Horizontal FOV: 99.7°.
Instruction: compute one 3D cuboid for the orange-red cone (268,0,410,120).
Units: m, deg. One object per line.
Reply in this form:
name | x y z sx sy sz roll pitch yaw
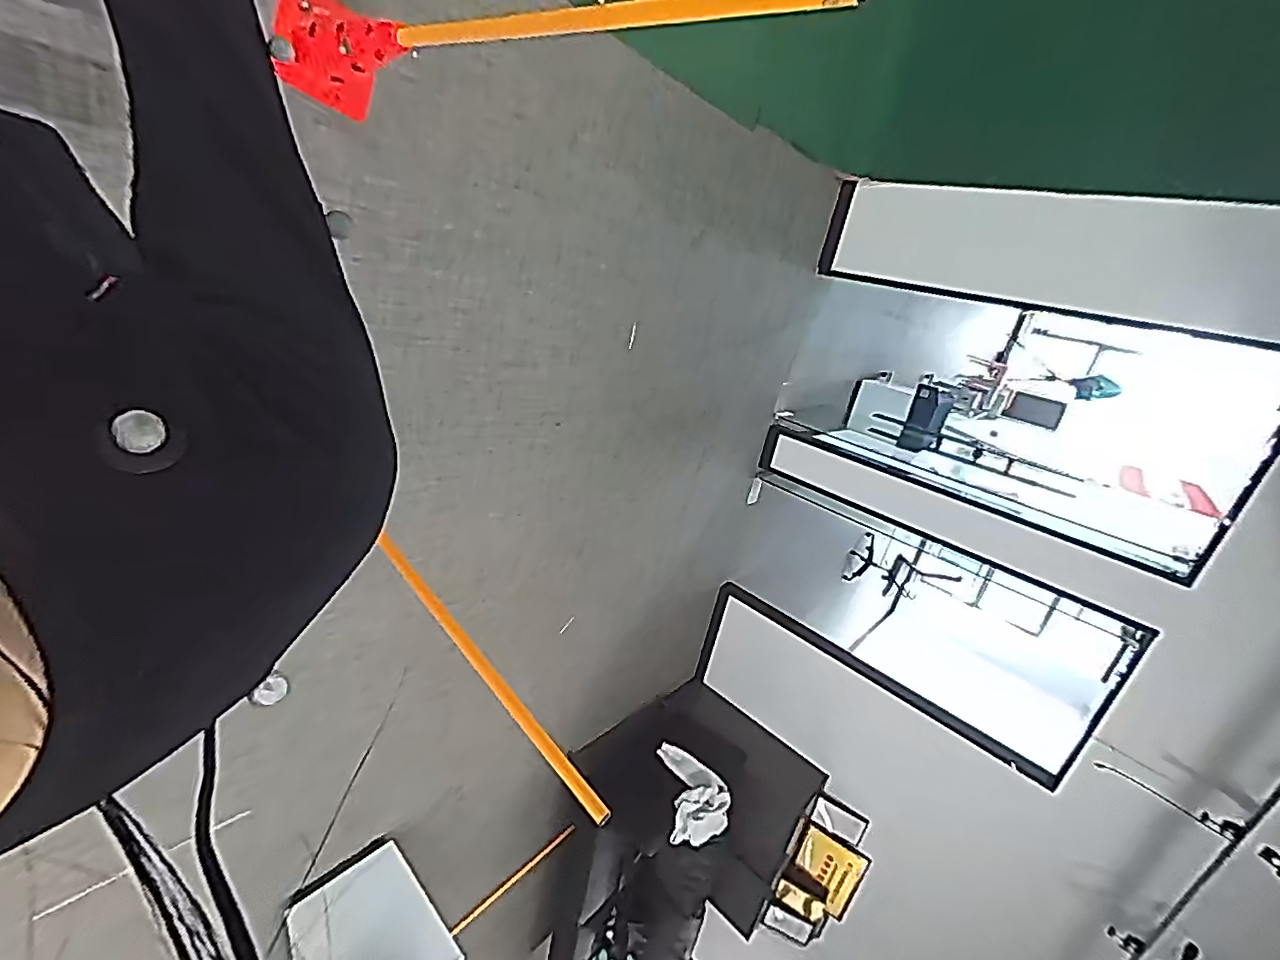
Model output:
orange-red cone | -0.550 -0.857 1.064 0.198 0.360 0.199 6 108 -52
